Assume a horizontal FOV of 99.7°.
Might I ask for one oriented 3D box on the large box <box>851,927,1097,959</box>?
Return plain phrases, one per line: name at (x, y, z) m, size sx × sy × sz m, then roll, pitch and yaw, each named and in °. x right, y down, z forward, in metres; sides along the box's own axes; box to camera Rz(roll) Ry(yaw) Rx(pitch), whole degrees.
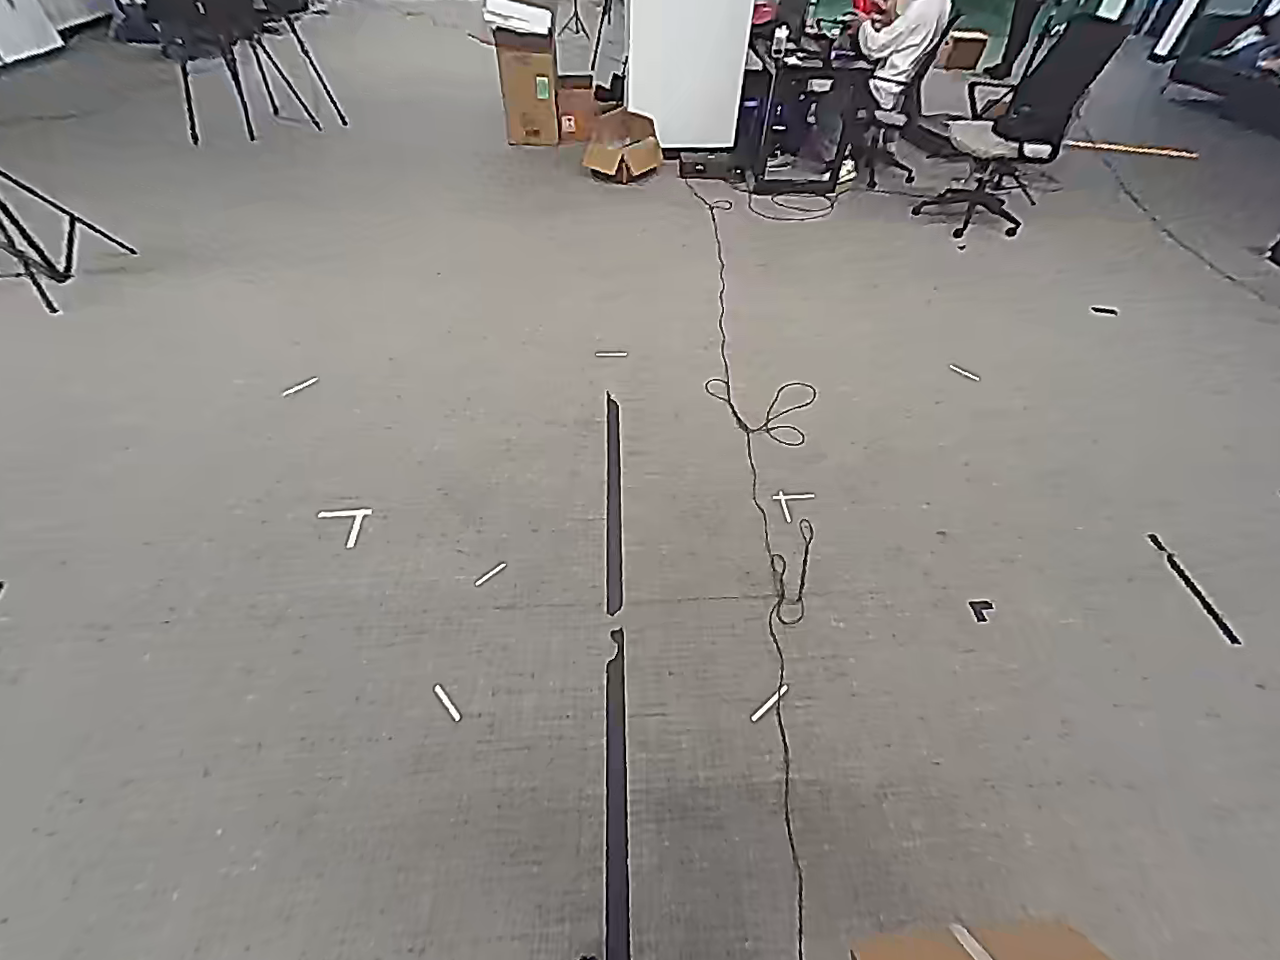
large box at (0.462, 0.769, 0.562) m, size 0.320 × 0.408 × 0.320 m, roll -7°, pitch 79°, yaw 2°
